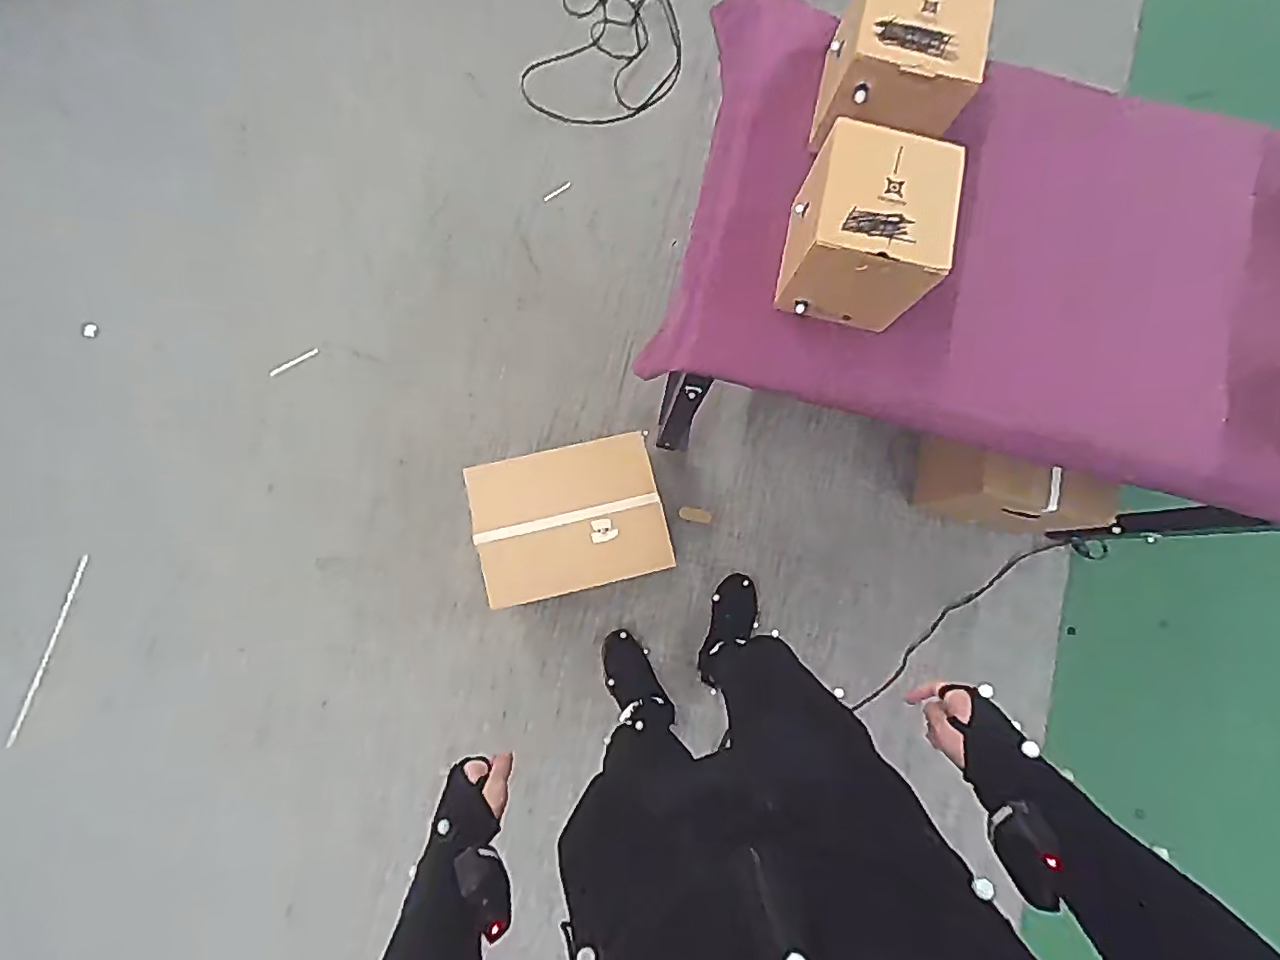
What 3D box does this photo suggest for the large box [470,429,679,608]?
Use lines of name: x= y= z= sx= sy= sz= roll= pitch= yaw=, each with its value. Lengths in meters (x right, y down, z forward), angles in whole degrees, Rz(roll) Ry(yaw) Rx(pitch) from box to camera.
large box: x=-0.152 y=0.102 z=1.311 sx=0.408 sy=0.320 sz=0.320 roll=-13 pitch=82 yaw=-6

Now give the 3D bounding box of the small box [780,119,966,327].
small box: x=0.301 y=-0.332 z=0.731 sx=0.168 sy=0.176 sz=0.179 roll=13 pitch=79 yaw=-1
